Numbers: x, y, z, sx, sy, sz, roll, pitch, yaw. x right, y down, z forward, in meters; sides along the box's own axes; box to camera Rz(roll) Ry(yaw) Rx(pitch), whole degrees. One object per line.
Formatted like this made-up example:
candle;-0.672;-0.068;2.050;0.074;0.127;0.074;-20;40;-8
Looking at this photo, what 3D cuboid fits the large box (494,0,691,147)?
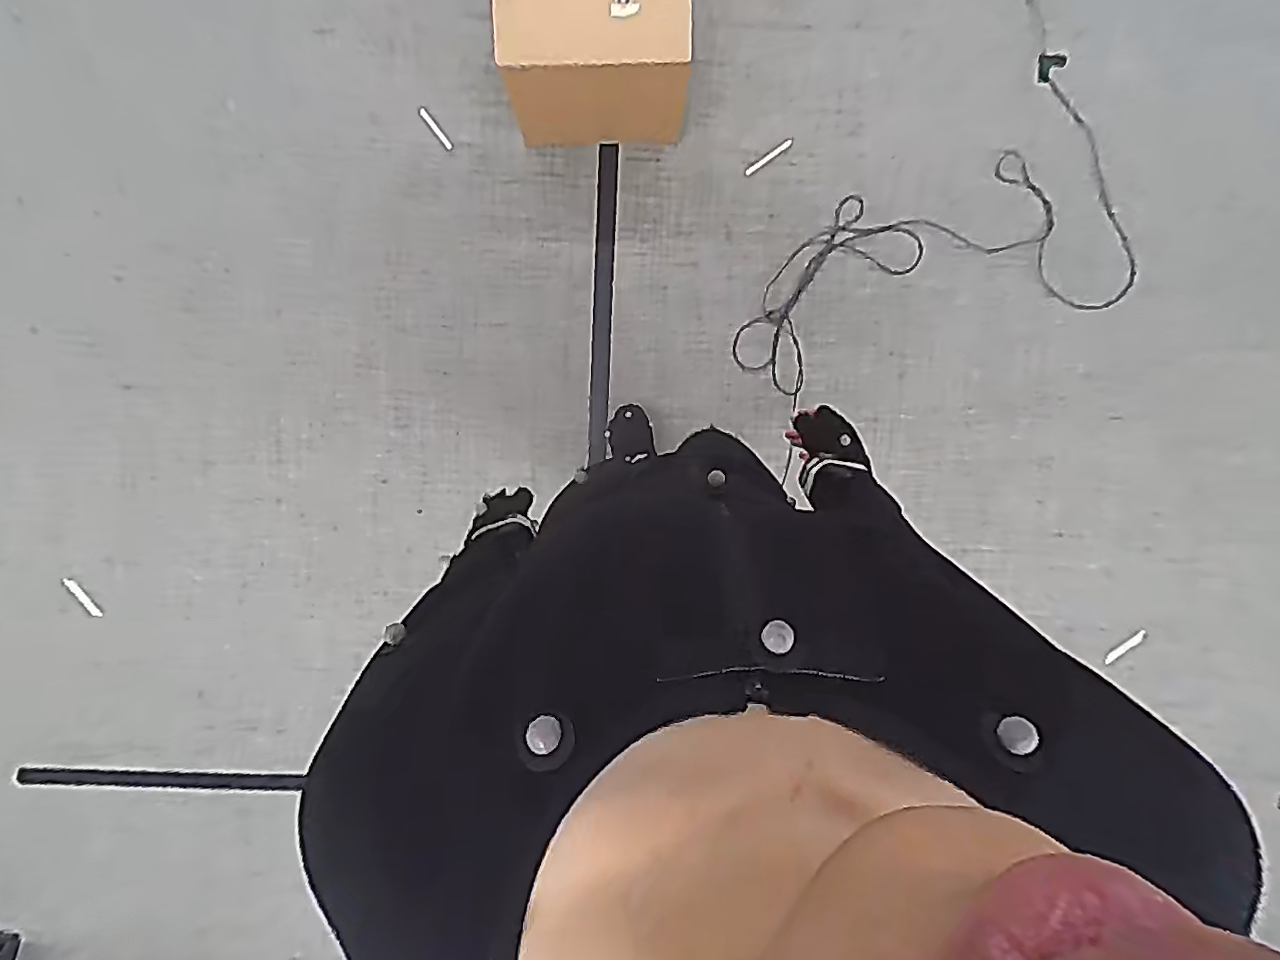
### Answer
large box;-0.104;-1.011;1.248;0.408;0.320;0.320;-2;95;-1
